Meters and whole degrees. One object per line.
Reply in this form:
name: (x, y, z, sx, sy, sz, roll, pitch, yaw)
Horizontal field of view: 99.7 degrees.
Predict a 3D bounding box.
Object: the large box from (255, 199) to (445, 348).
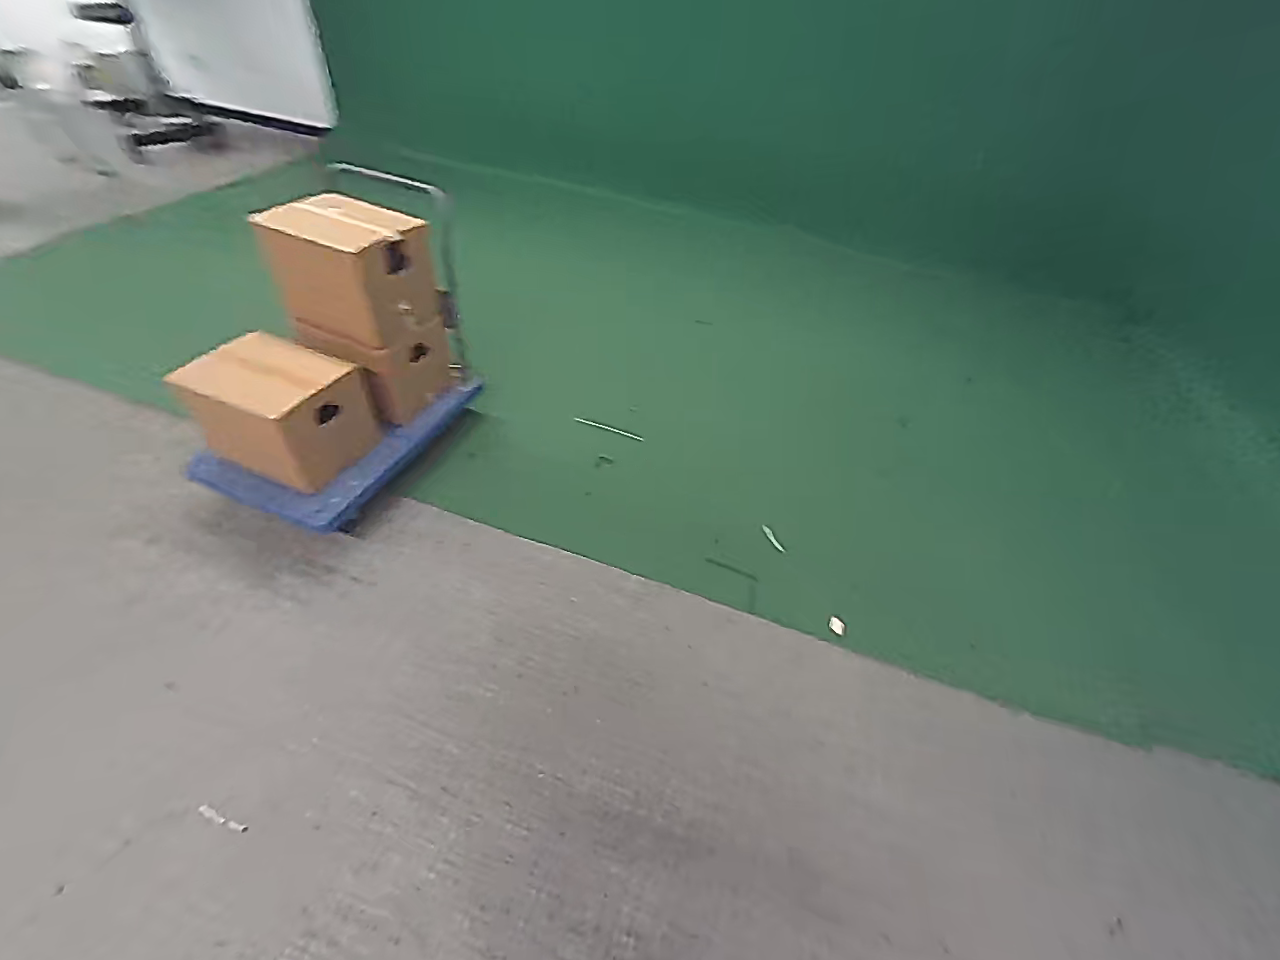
large box: (-0.916, -0.675, 1.763, 0.408, 0.320, 0.320, 21, 45, 15)
